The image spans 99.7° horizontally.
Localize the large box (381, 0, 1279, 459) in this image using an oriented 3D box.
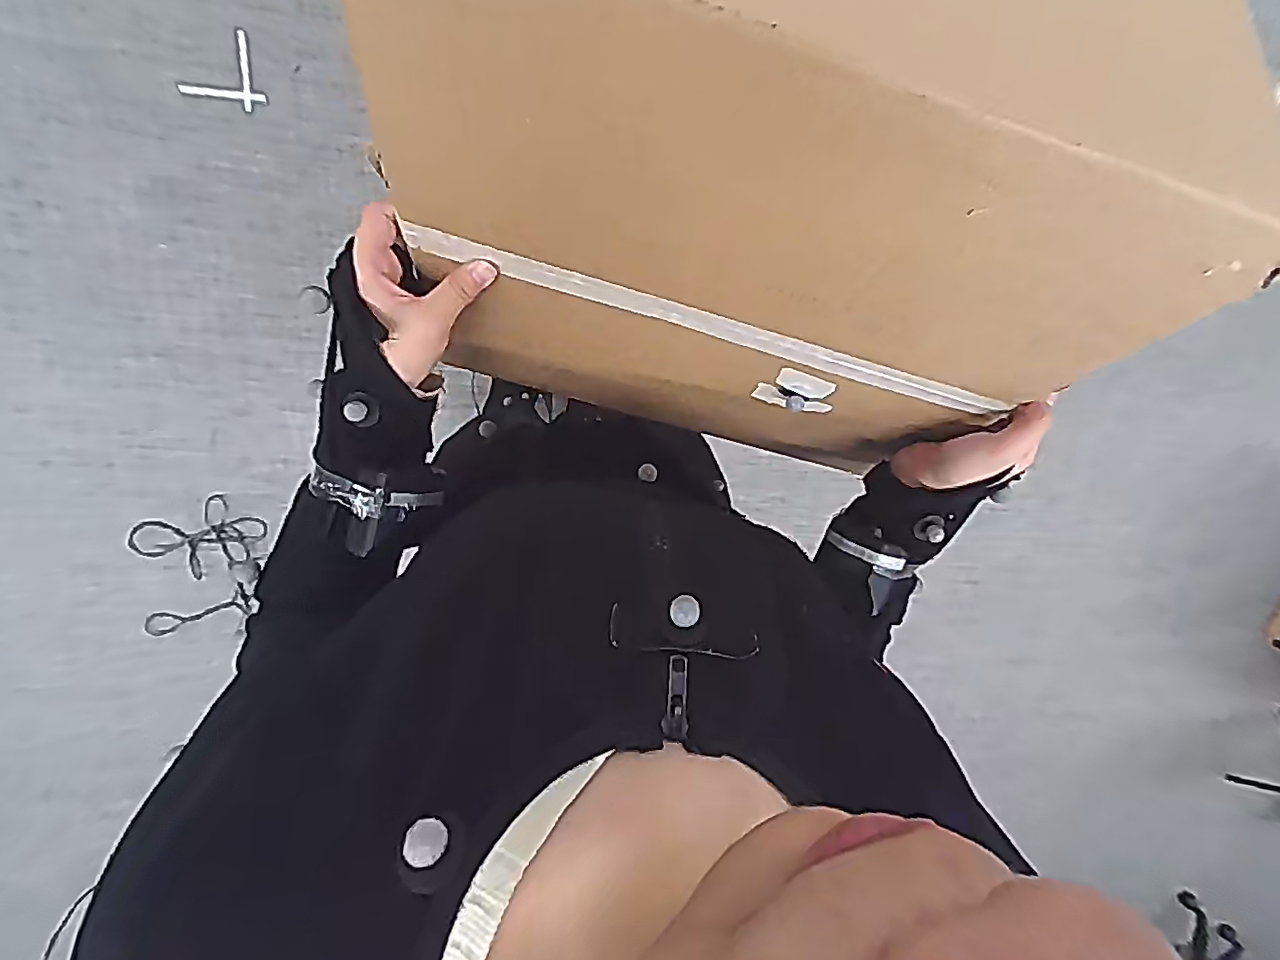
[{"bbox_3d":[0.099,-0.247,0.363,0.408,0.320,0.320,13,71,-8],"label":"large box"}]
